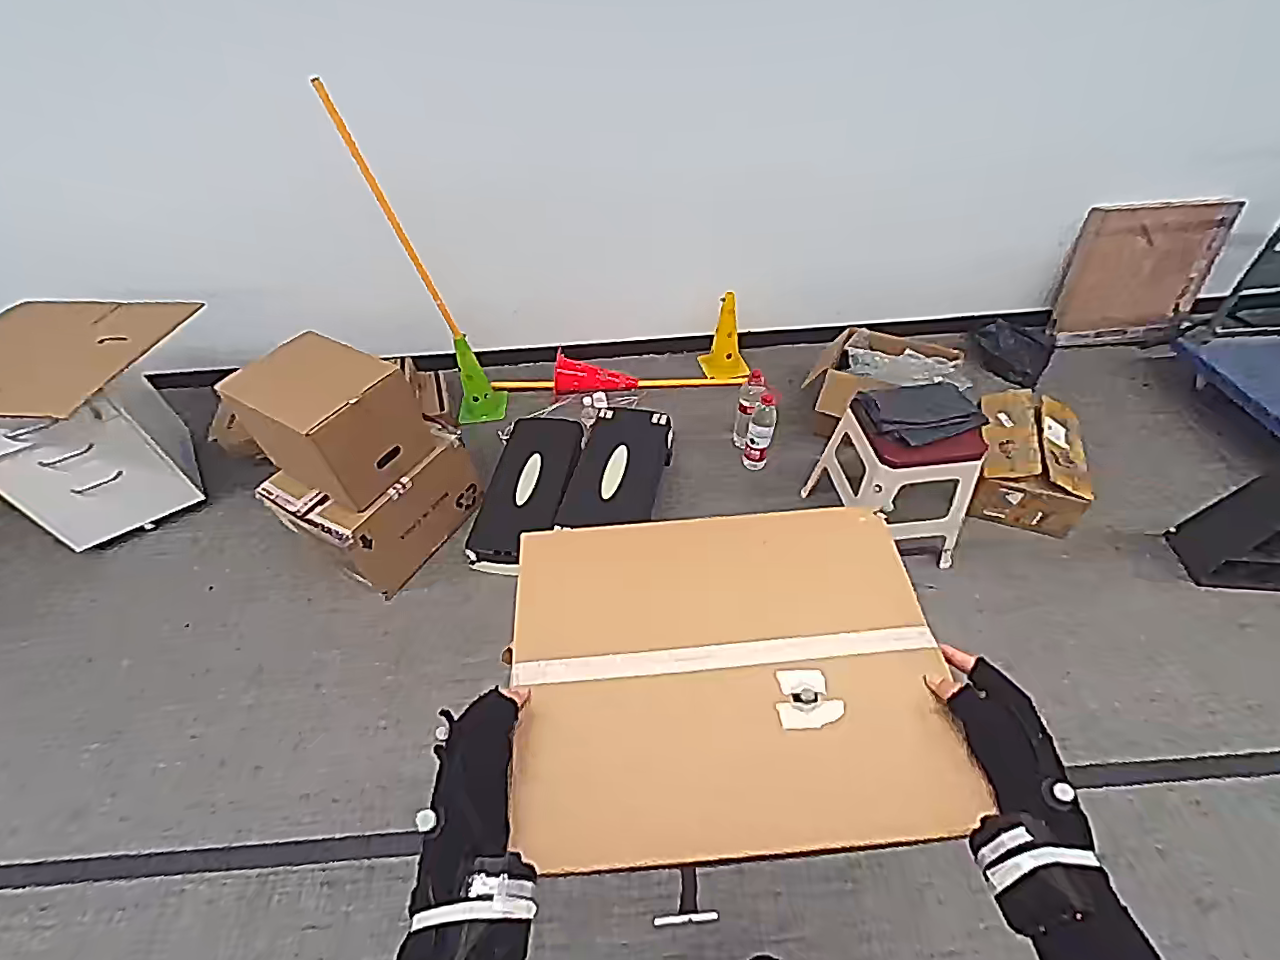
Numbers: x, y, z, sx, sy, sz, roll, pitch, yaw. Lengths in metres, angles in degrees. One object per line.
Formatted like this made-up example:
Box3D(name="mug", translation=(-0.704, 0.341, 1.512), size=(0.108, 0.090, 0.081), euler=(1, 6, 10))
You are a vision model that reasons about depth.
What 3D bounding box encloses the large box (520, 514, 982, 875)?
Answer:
Box3D(name="large box", translation=(0.085, 0.268, 0.658), size=(0.408, 0.320, 0.320), euler=(-5, 54, -2))
